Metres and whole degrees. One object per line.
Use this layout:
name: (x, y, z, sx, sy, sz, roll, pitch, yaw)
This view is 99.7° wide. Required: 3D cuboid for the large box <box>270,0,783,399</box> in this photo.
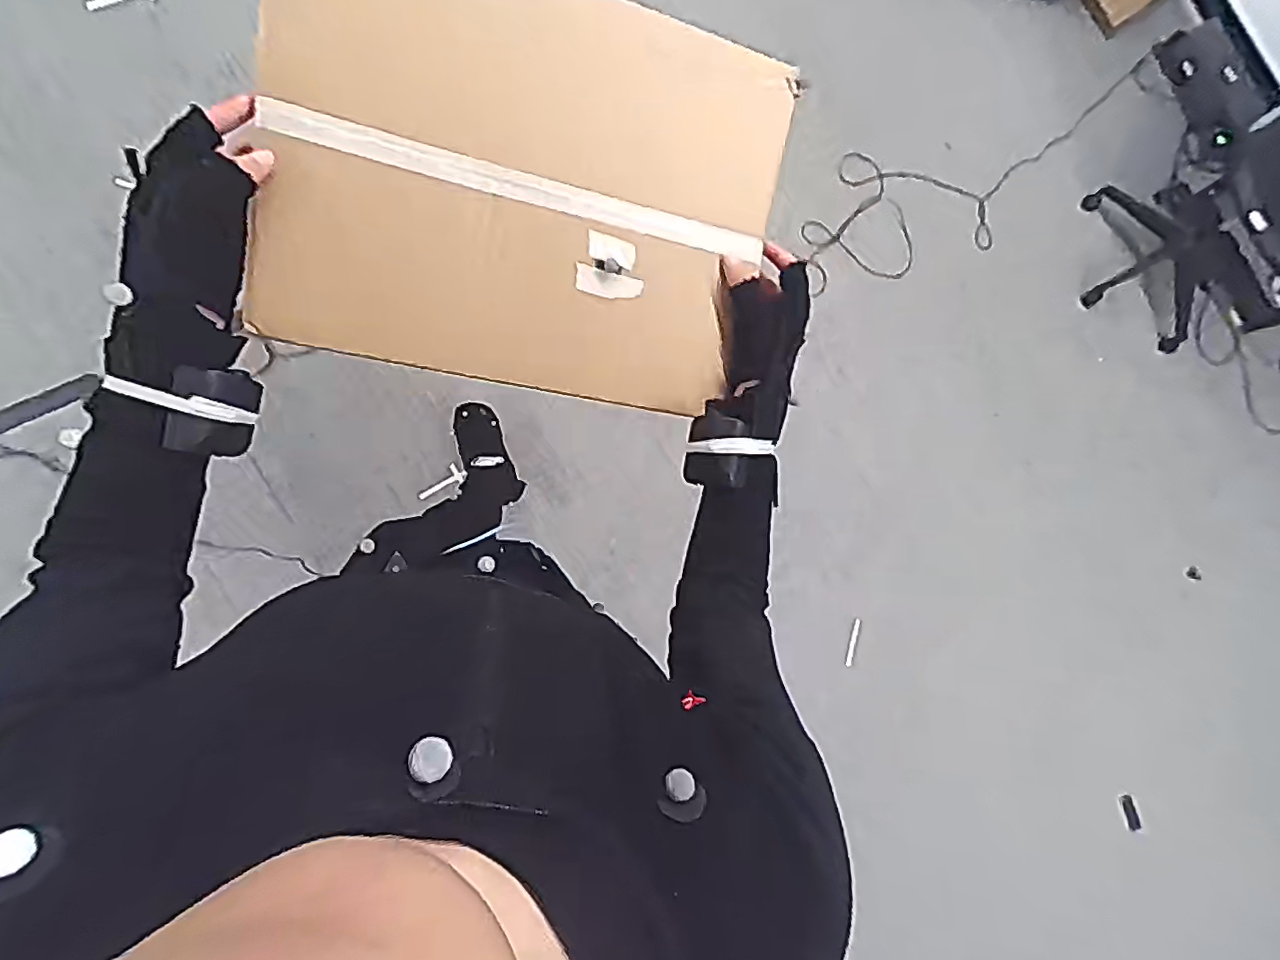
large box: (-0.122, -0.282, 0.599, 0.408, 0.320, 0.320, 8, 101, -17)
